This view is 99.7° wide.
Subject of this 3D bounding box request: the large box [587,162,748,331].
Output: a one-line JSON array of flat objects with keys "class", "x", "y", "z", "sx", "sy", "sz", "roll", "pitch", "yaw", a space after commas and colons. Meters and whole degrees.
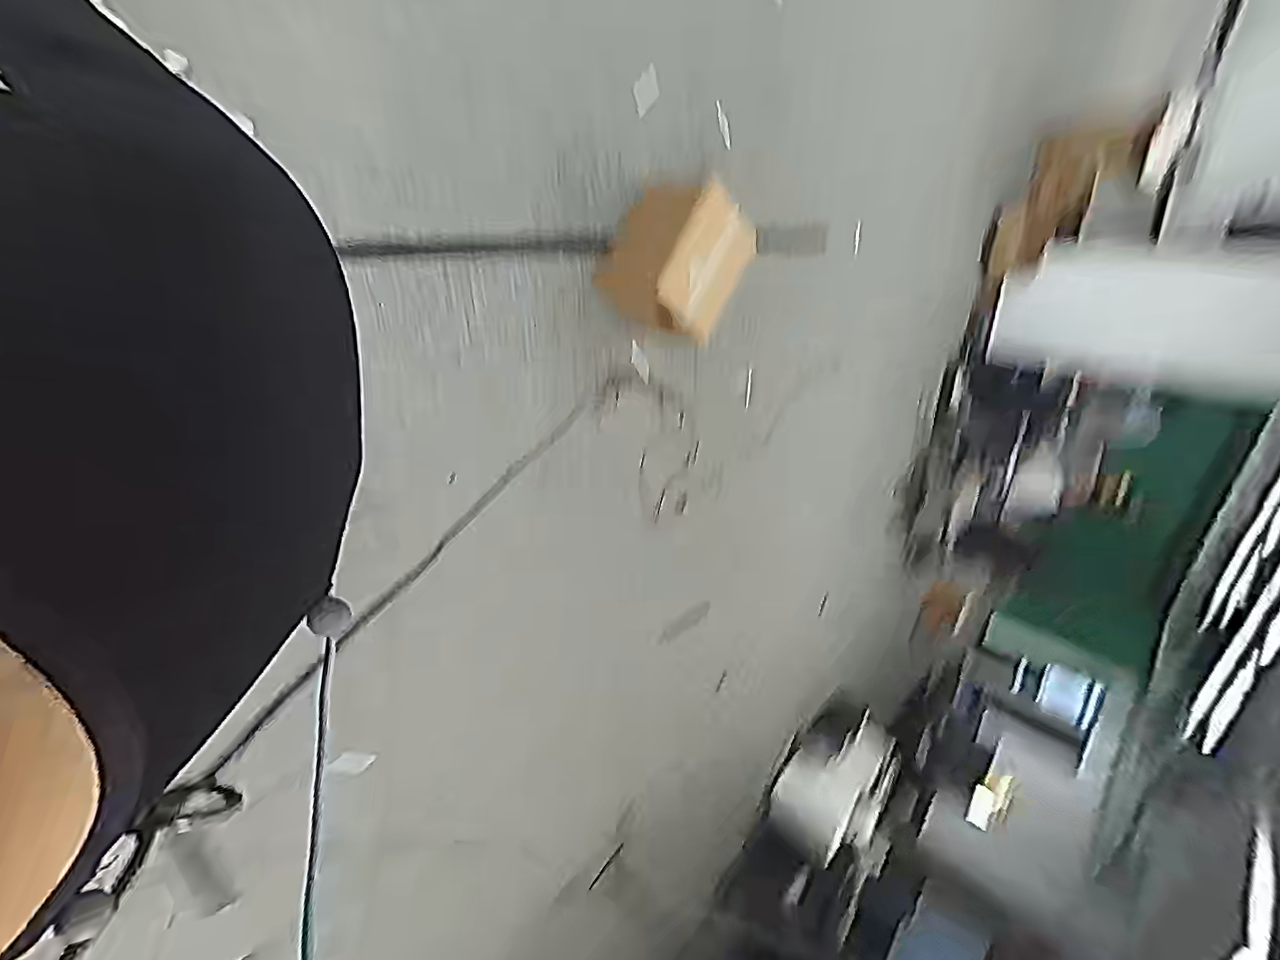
[{"class": "large box", "x": 0.093, "y": -0.776, "z": 1.811, "sx": 0.320, "sy": 0.320, "sz": 0.408, "roll": 29, "pitch": 87, "yaw": -49}]
